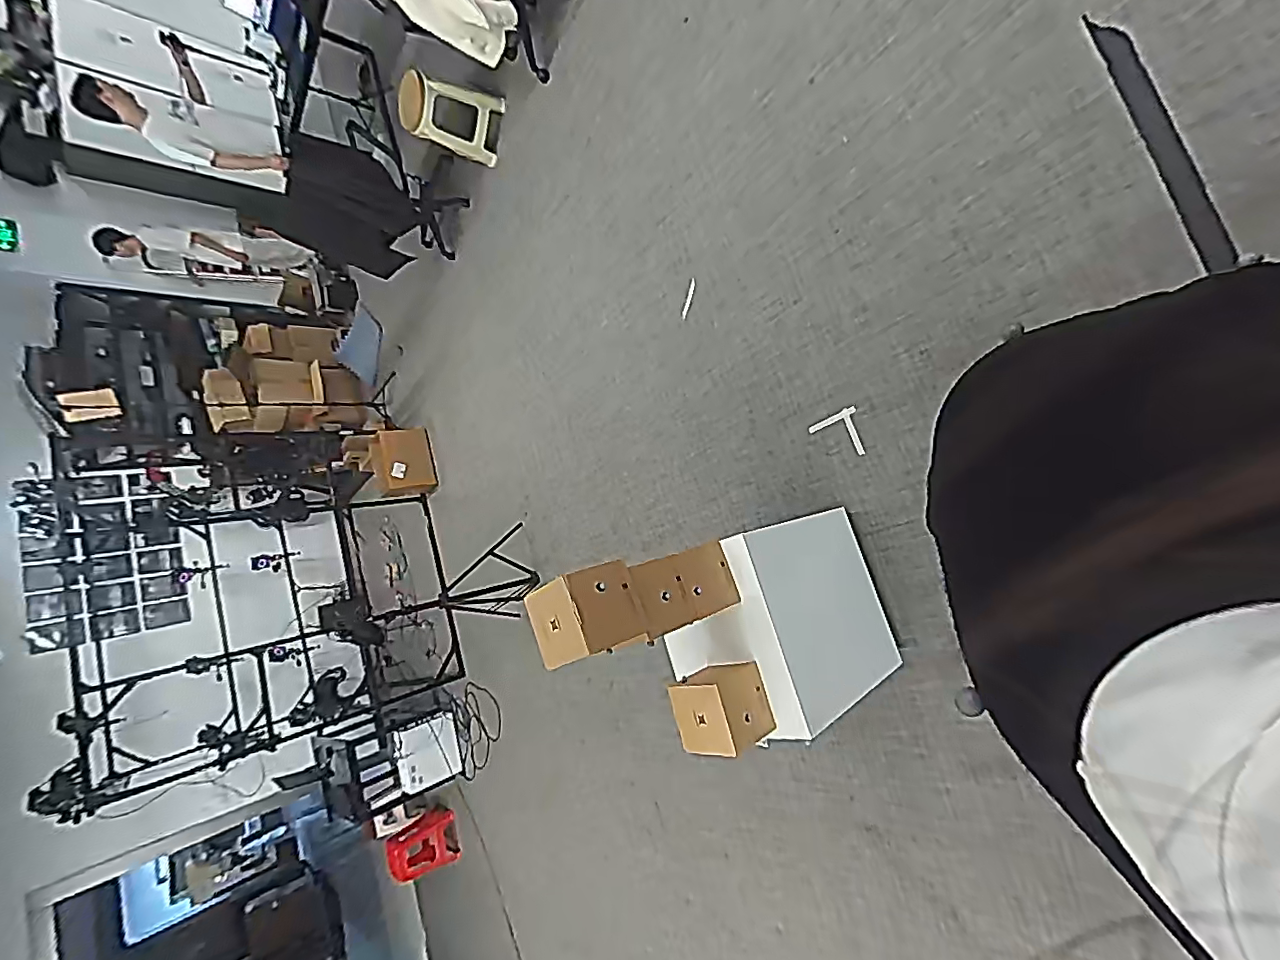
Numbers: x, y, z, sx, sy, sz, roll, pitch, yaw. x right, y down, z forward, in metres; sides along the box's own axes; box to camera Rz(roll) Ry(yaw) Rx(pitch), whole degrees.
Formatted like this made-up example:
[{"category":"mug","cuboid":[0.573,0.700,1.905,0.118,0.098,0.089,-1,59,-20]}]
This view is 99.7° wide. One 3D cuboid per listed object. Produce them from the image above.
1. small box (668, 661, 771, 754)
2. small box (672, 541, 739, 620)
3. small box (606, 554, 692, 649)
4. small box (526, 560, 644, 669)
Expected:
[{"category":"small box","cuboid":[0.205,0.561,1.349,0.179,0.176,0.168,-26,76,46]},{"category":"small box","cuboid":[0.122,0.267,1.392,0.179,0.176,0.168,-30,75,45]},{"category":"small box","cuboid":[0.002,0.285,1.279,0.179,0.176,0.168,-29,75,45]},{"category":"small box","cuboid":[-0.113,0.285,1.162,0.179,0.176,0.168,-36,70,44]}]
